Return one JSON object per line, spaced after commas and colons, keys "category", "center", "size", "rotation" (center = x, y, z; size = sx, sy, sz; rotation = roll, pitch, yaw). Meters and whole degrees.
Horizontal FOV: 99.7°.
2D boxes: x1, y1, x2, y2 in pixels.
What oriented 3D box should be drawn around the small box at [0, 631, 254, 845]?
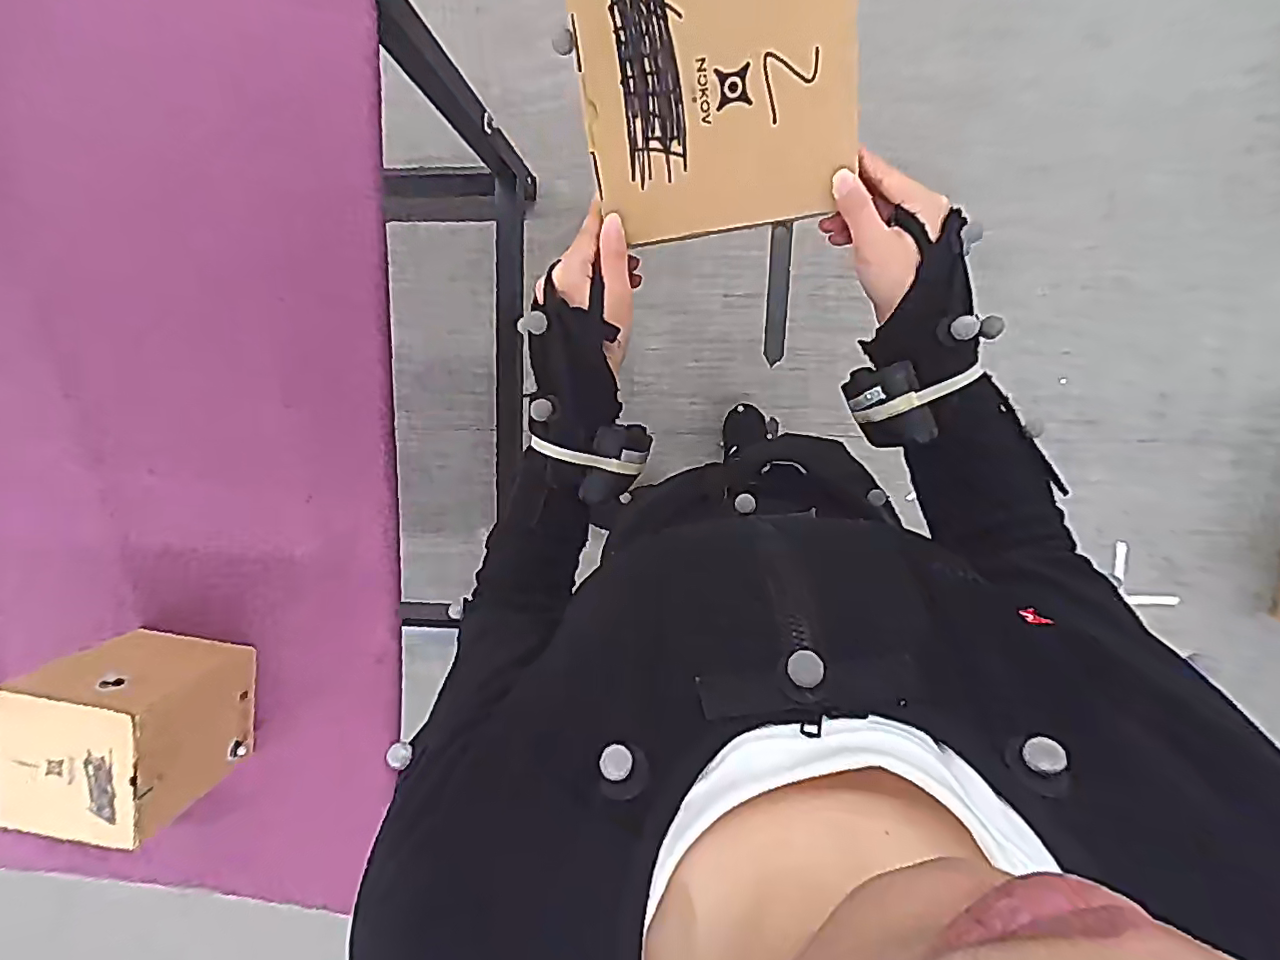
{"category": "small box", "center": [-0.621, 0.303, 0.670], "size": [0.179, 0.176, 0.168], "rotation": [8, 97, 4]}
